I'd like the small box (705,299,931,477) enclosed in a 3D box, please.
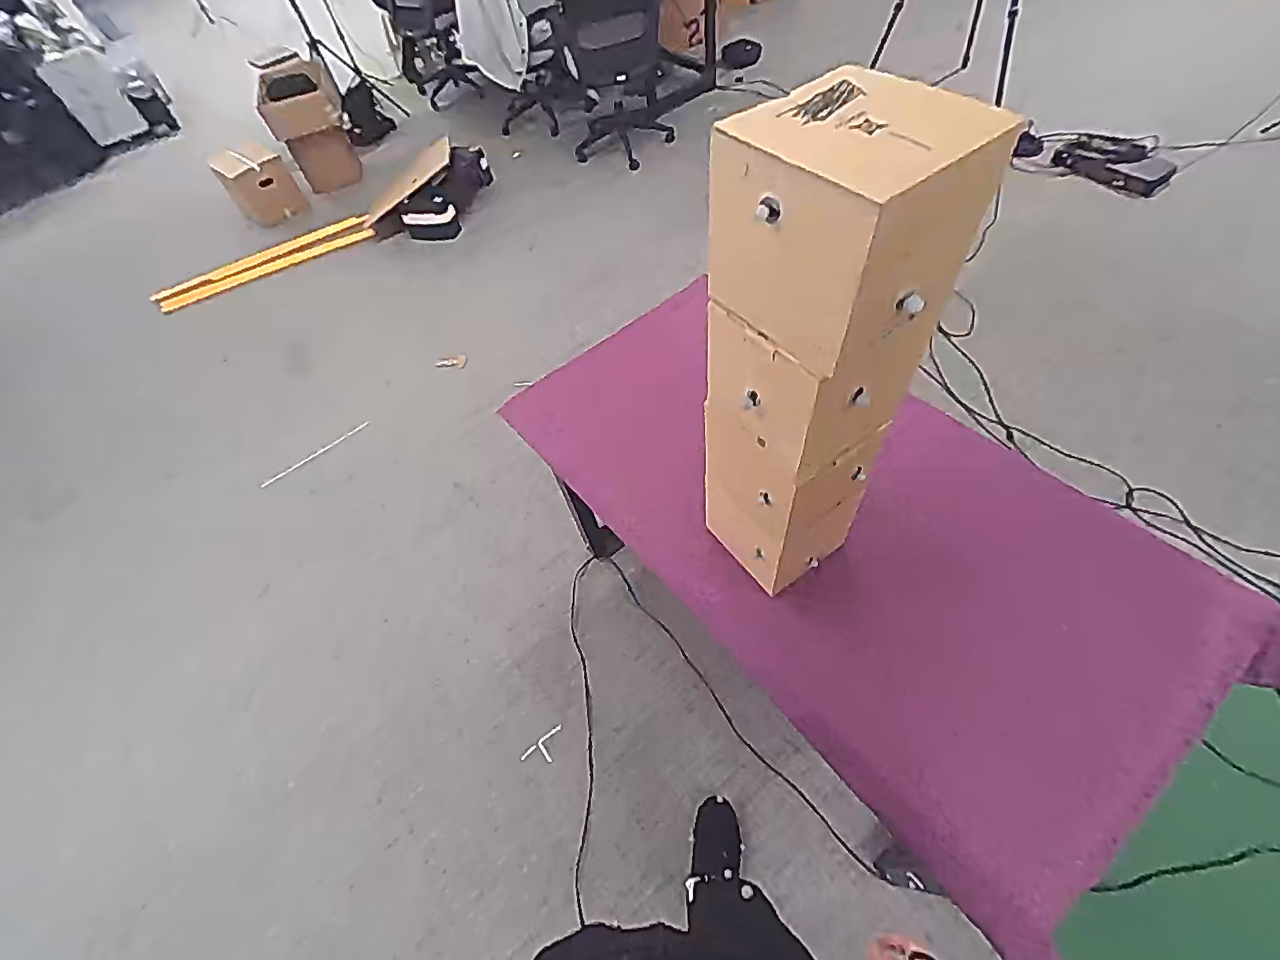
[{"bbox_3d":[0.195,-0.135,0.629,0.179,0.176,0.168,-32,58,-14],"label":"small box"}]

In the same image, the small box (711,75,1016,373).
[{"bbox_3d":[0.179,-0.231,0.496,0.168,0.176,0.179,-34,58,-16],"label":"small box"}]

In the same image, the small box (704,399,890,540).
[{"bbox_3d":[0.208,-0.038,0.760,0.168,0.176,0.179,-32,57,-15],"label":"small box"}]
